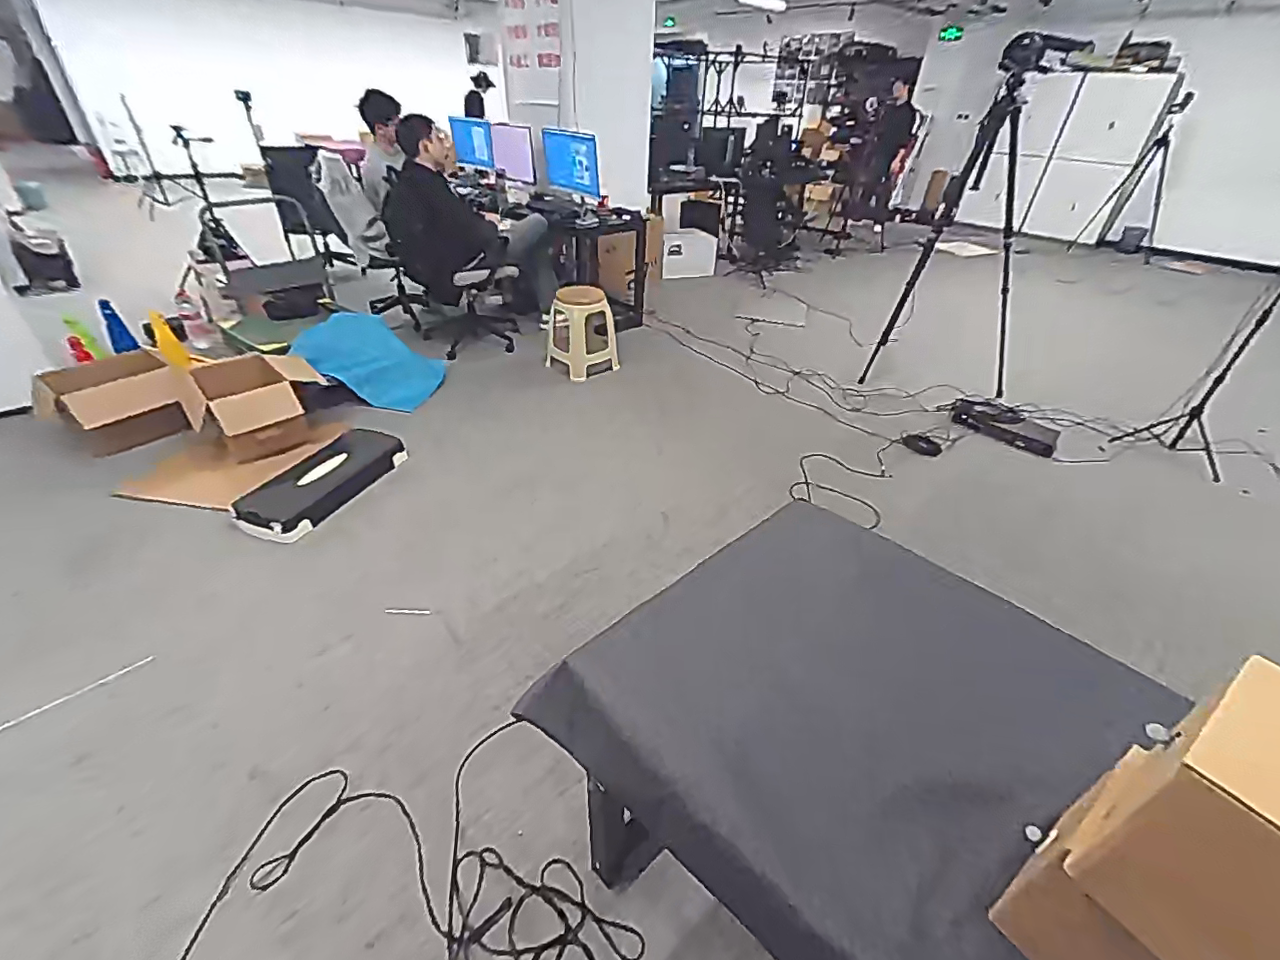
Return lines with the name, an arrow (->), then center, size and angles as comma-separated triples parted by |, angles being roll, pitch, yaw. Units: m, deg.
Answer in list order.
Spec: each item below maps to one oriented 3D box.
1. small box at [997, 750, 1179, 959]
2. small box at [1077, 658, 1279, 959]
small box -> 0.474, 0.397, 0.484 | 0.168, 0.176, 0.179 | -20, 40, -30
small box -> 0.466, 0.271, 0.380 | 0.168, 0.176, 0.179 | -19, 40, -29
